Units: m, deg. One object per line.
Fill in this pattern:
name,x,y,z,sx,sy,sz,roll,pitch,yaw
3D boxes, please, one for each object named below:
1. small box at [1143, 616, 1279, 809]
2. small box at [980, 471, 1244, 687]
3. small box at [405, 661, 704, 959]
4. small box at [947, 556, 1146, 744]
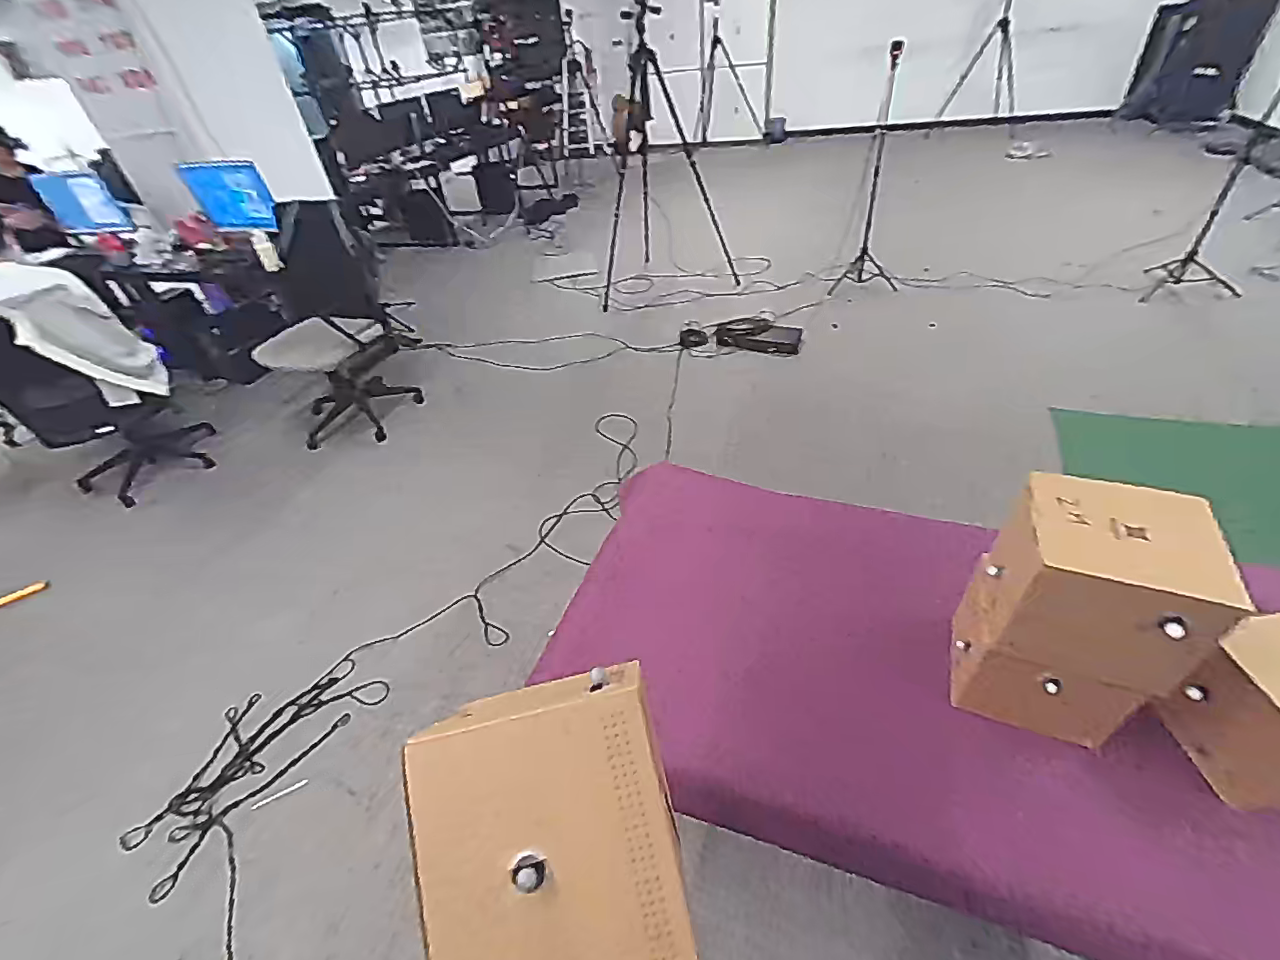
small box,0.785,0.287,0.668,0.179,0.176,0.168,-4,39,3
small box,0.534,0.119,0.647,0.179,0.176,0.168,13,44,22
small box,-0.059,0.251,0.421,0.176,0.168,0.179,-13,78,-4
small box,0.548,0.238,0.760,0.179,0.176,0.168,13,44,21
